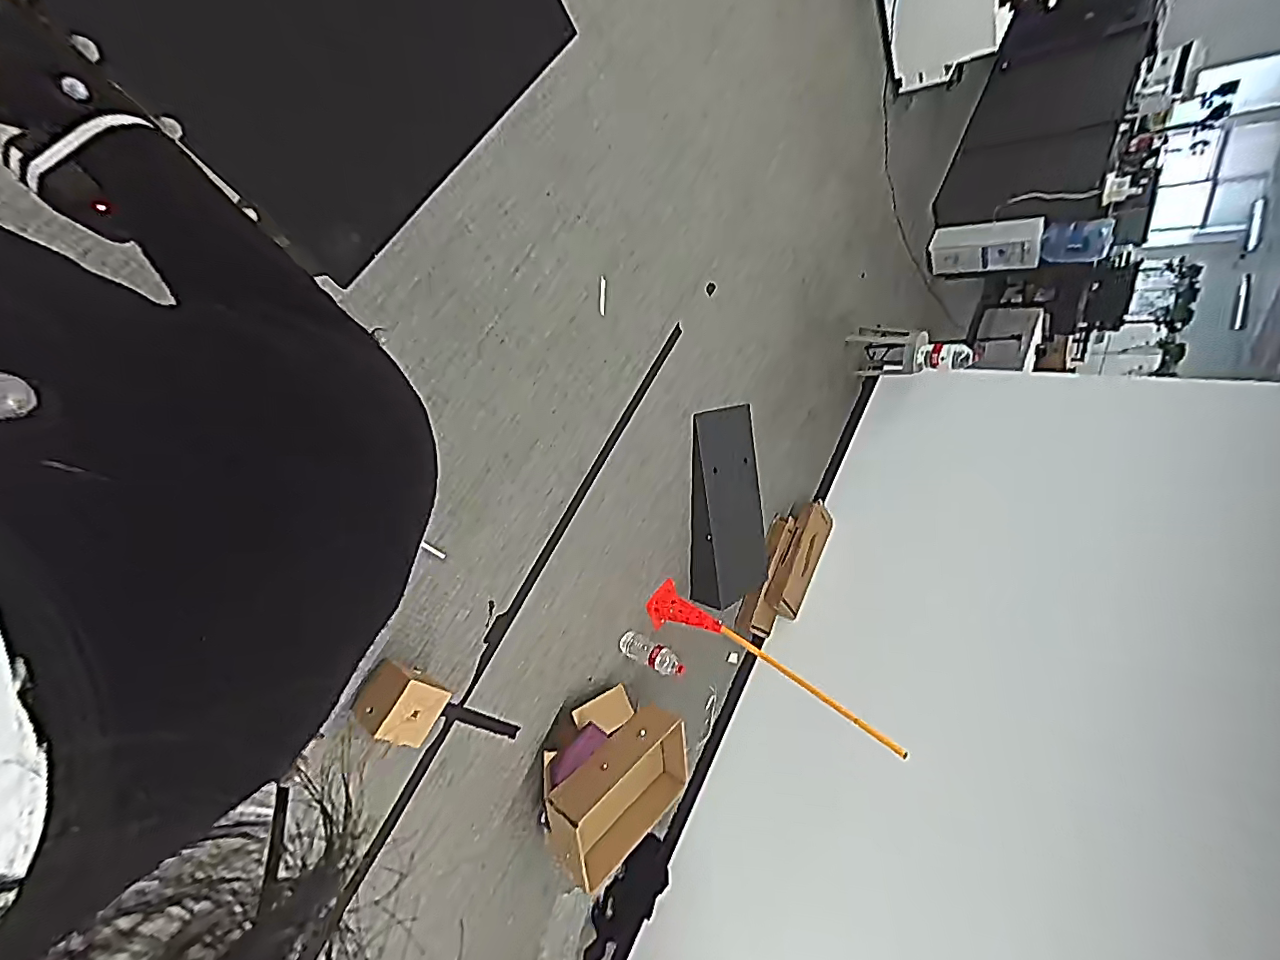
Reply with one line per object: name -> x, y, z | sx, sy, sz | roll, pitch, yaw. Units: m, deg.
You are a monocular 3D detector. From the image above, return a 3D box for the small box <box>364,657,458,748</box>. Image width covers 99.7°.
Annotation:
small box -> -0.687, 0.657, 1.605 | 0.168, 0.176, 0.179 | 47, 65, -45
